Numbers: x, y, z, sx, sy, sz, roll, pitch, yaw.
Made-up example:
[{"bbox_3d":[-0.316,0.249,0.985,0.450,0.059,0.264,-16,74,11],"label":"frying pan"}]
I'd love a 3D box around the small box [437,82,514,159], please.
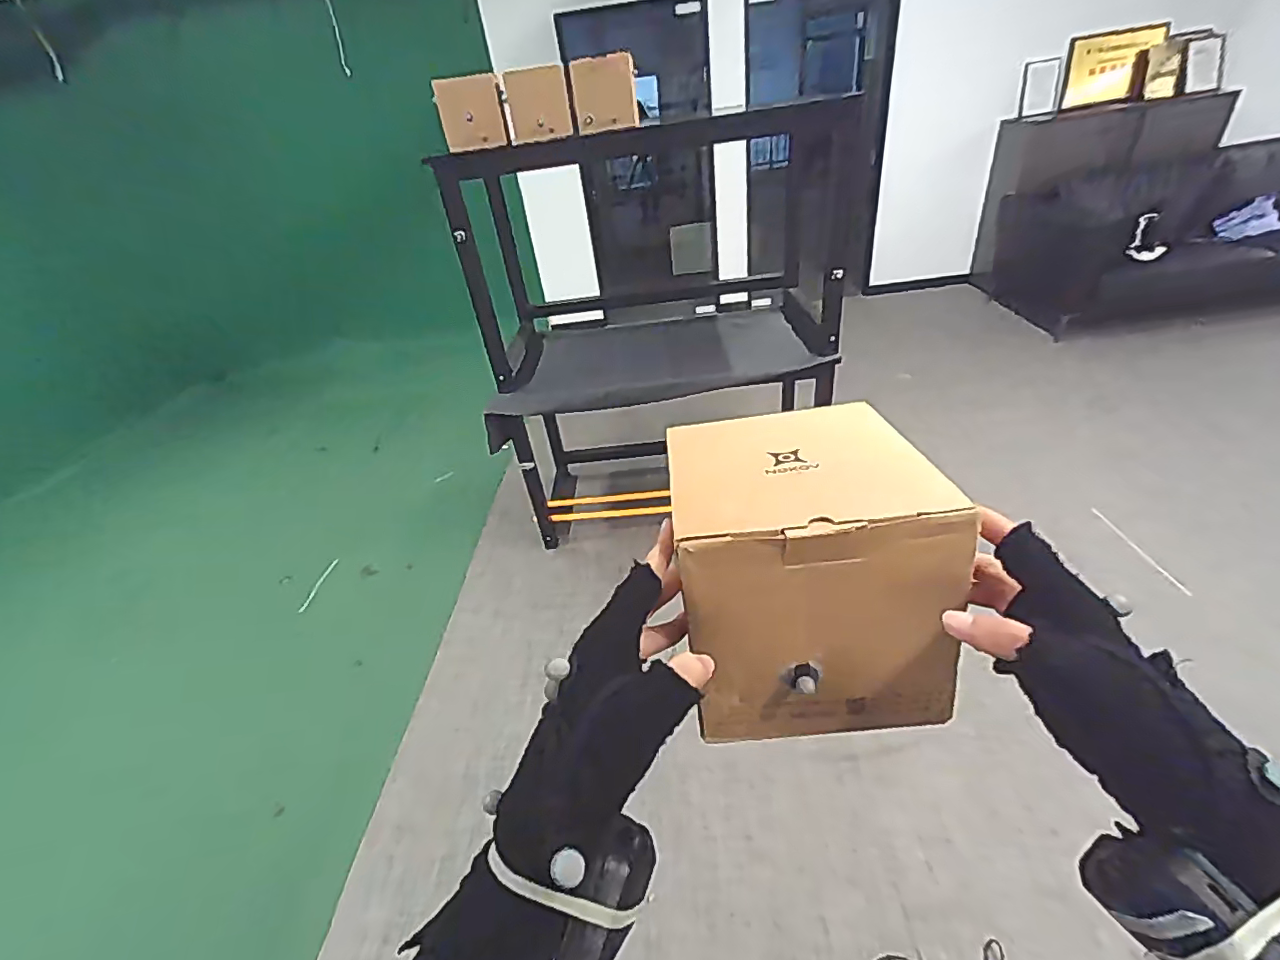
[{"bbox_3d":[-0.474,-1.048,1.584,0.168,0.176,0.179,-8,33,-2],"label":"small box"}]

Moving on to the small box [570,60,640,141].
[{"bbox_3d":[-0.094,-1.092,1.564,0.168,0.176,0.179,-5,33,6],"label":"small box"}]

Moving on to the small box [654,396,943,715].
[{"bbox_3d":[0.102,0.048,0.416,0.168,0.176,0.179,-7,26,5],"label":"small box"}]
